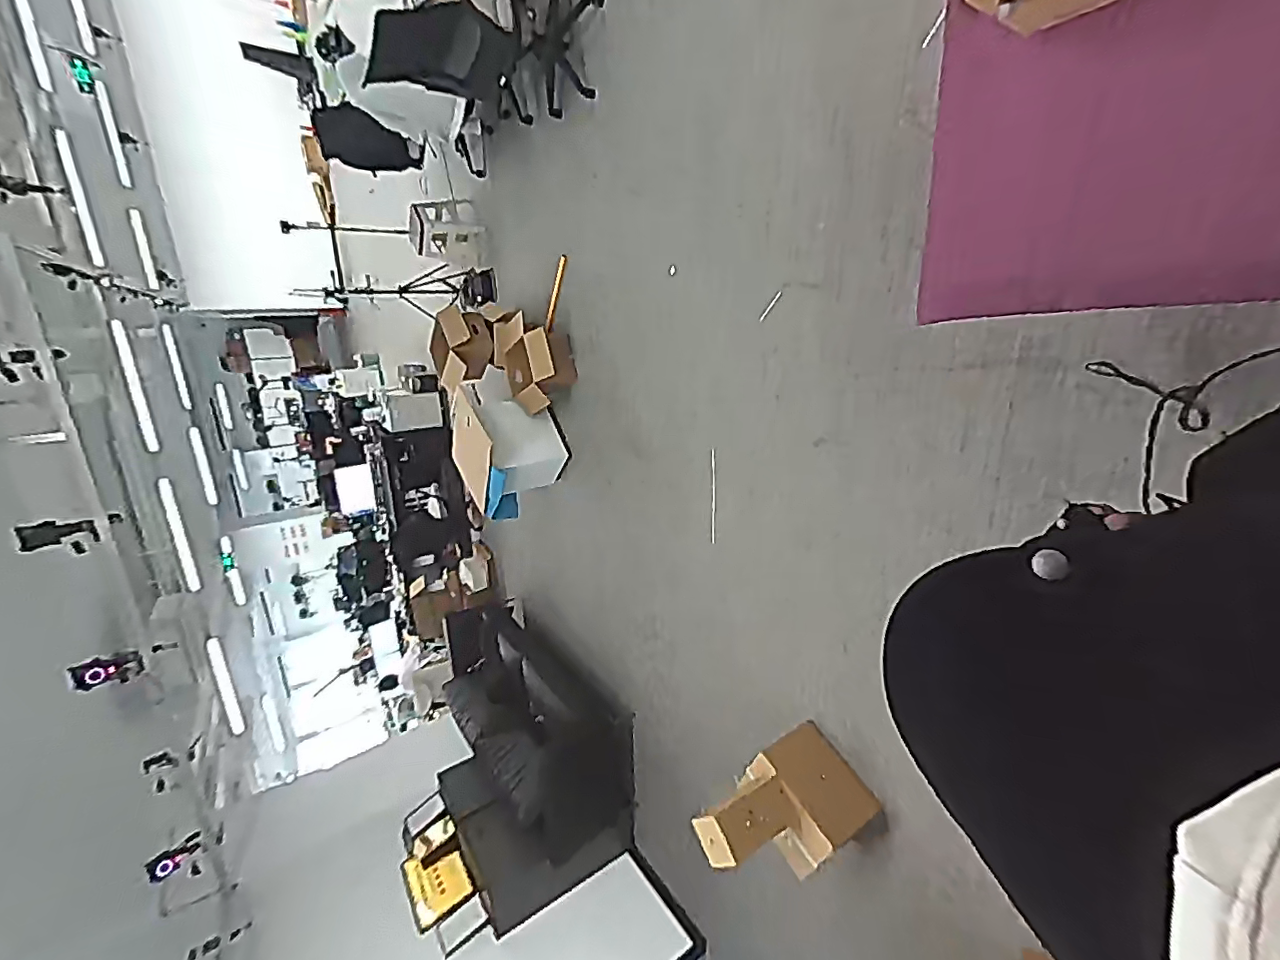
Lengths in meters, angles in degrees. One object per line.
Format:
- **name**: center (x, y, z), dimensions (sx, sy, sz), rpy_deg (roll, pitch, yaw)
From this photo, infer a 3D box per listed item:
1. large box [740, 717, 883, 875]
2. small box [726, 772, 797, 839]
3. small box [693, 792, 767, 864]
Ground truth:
- **large box**: center (0.689, 1.277, 2.215), dimensions (0.408, 0.320, 0.320), rpy_deg (46, 137, 37)
- **small box**: center (0.469, 1.255, 2.085), dimensions (0.168, 0.176, 0.179), rpy_deg (62, 143, 21)
- **small box**: center (0.333, 1.284, 1.996), dimensions (0.168, 0.176, 0.179), rpy_deg (61, 142, 22)
